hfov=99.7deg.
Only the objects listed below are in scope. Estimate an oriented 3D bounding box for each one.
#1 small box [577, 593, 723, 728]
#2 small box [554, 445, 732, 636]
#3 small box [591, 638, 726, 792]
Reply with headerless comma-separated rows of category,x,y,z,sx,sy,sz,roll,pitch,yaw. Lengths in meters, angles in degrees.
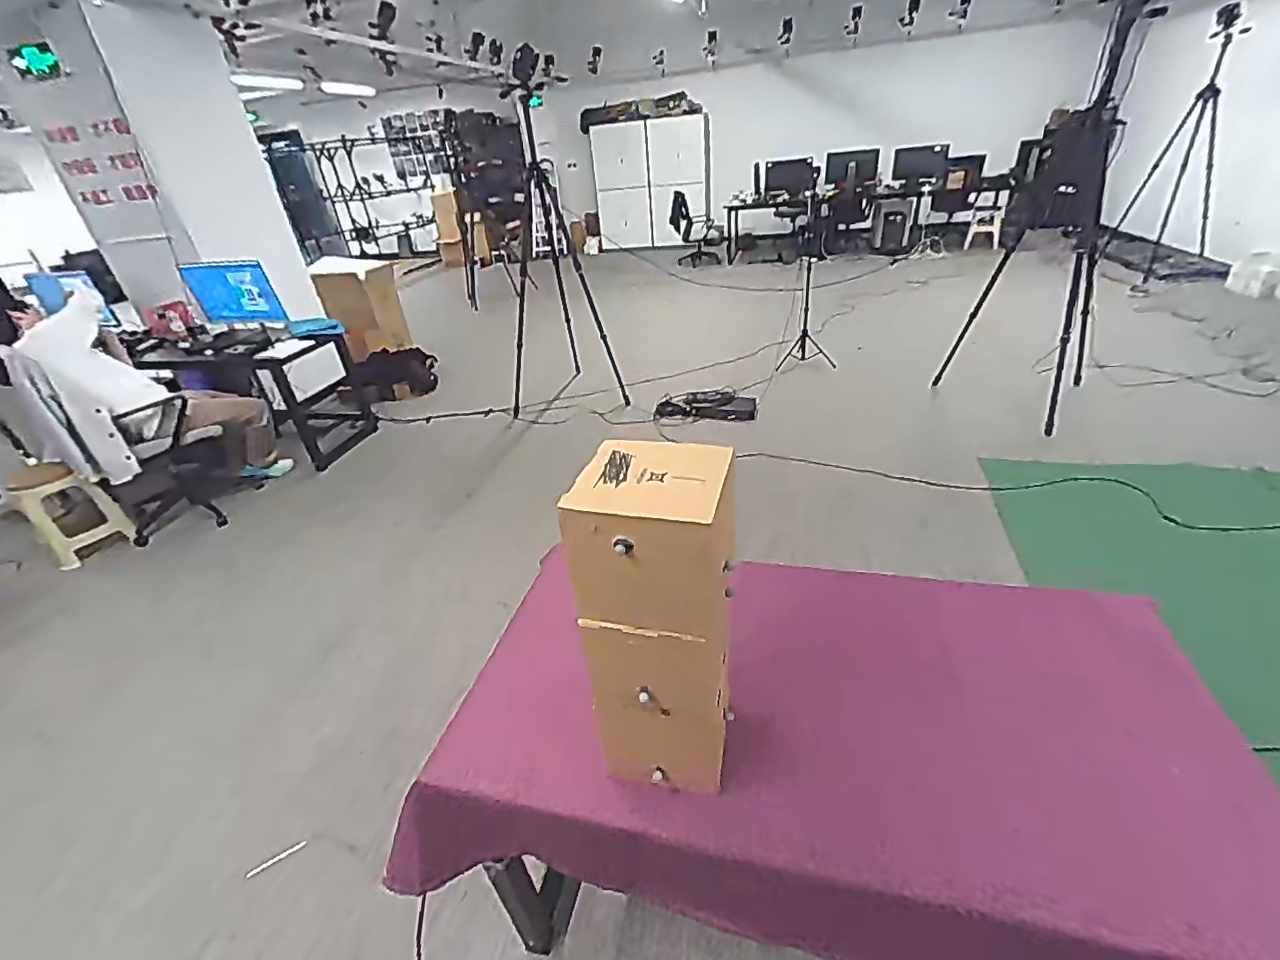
small box,0.025,0.210,0.760,0.168,0.176,0.179,3,33,15
small box,0.016,0.071,0.674,0.179,0.176,0.168,5,33,16
small box,0.038,0.353,0.842,0.179,0.176,0.168,3,32,13
